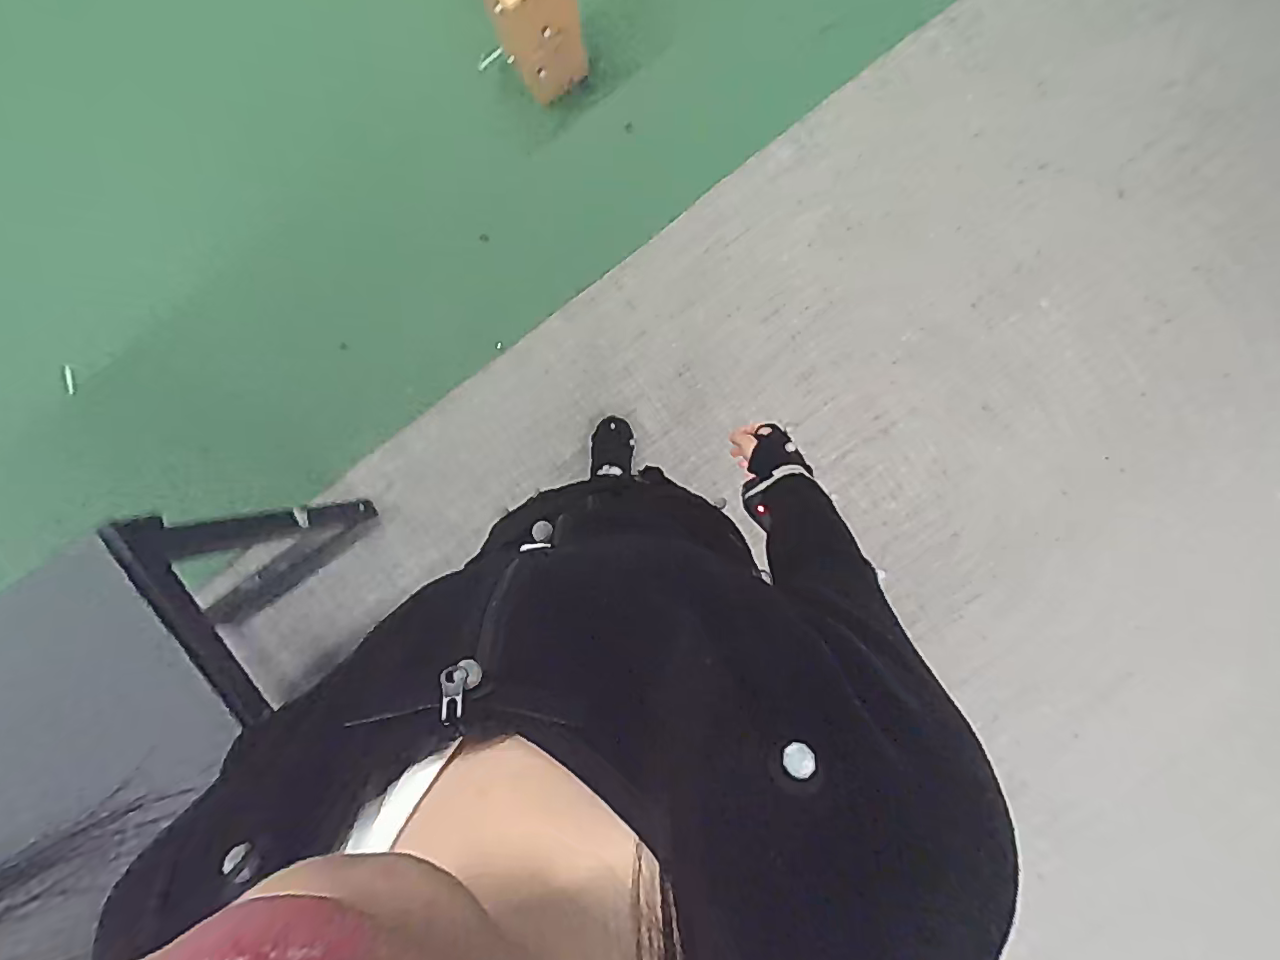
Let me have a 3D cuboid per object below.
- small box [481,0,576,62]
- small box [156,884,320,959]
[{"bbox_3d":[-0.265,-1.114,1.221,0.168,0.176,0.179,-36,90,2],"label":"small box"},{"bbox_3d":[-0.581,0.704,0.719,0.179,0.176,0.168,-37,91,3],"label":"small box"}]
